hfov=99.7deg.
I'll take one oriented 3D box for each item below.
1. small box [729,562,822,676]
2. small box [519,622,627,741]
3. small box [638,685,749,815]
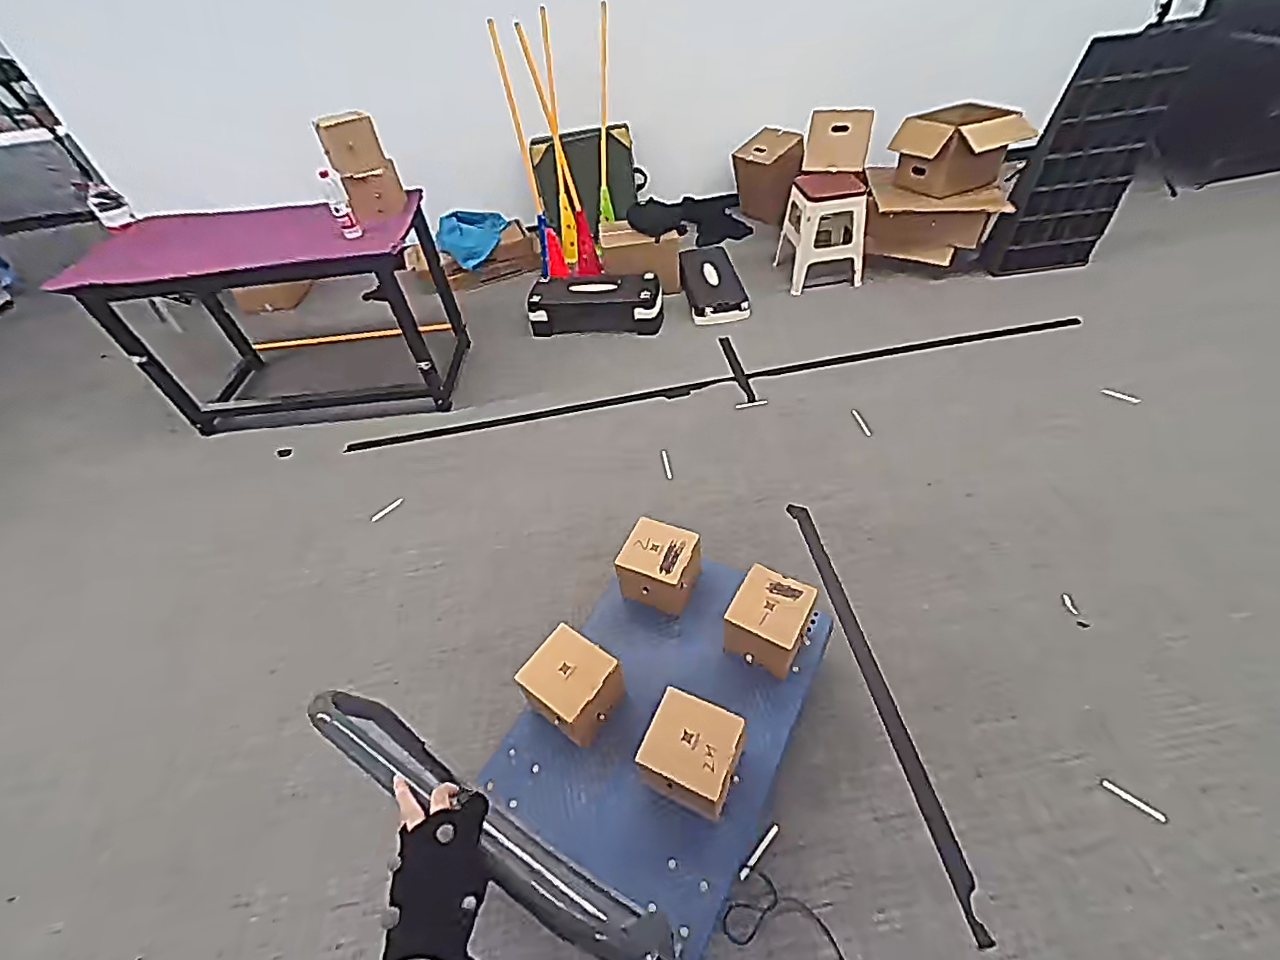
[{"bbox_3d":[0.323,0.341,1.320,0.168,0.176,0.179,22,55,25],"label":"small box"},{"bbox_3d":[-0.148,0.473,1.260,0.179,0.176,0.168,26,55,26],"label":"small box"},{"bbox_3d":[0.116,0.569,1.133,0.179,0.176,0.168,17,51,22],"label":"small box"}]
